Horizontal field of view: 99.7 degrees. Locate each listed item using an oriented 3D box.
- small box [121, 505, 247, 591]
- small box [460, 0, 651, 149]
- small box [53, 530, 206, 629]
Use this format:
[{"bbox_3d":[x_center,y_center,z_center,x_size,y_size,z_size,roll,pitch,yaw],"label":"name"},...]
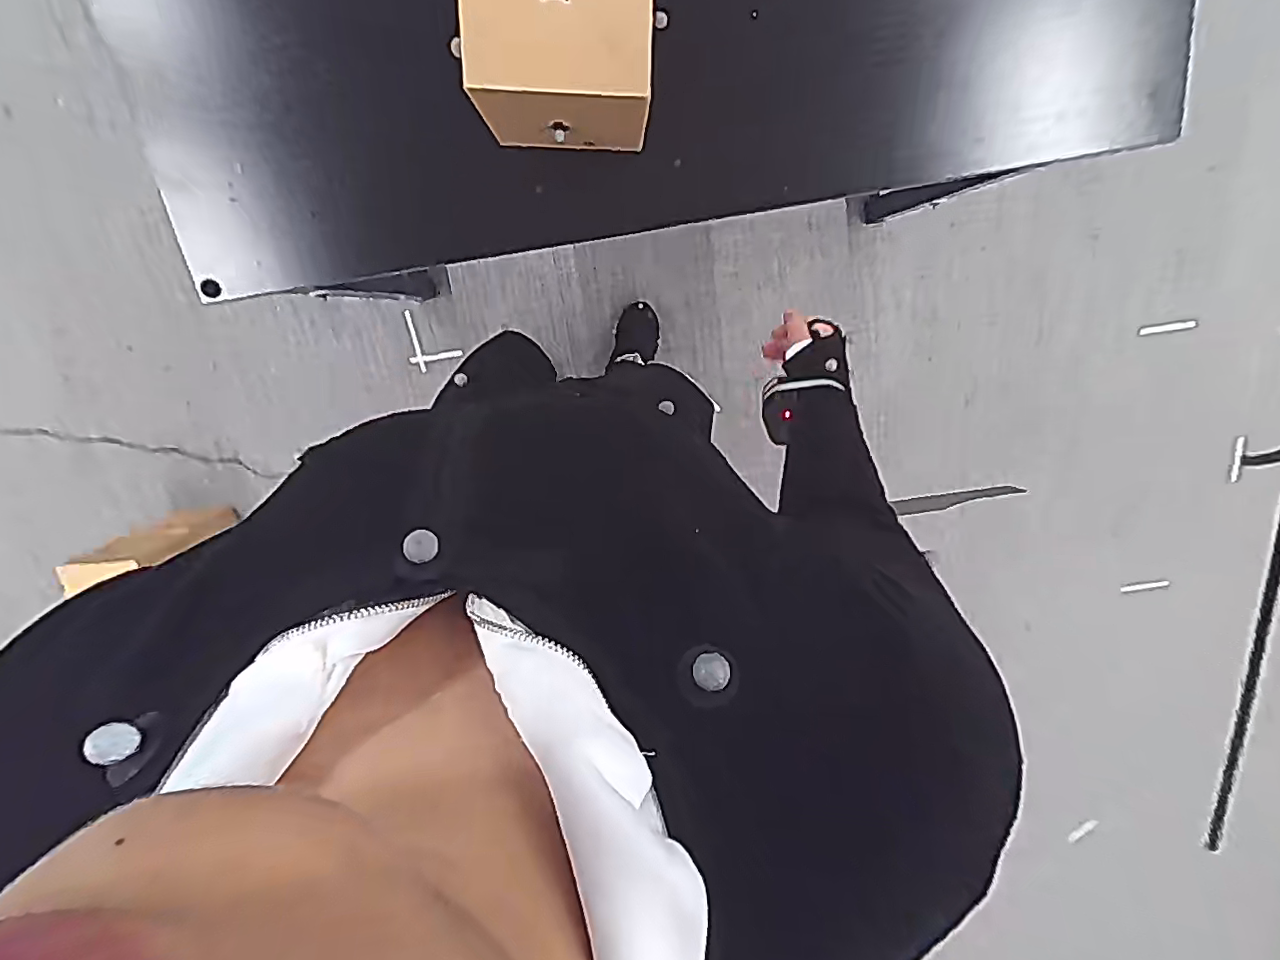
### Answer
[{"bbox_3d":[-1.189,0.182,1.426,0.168,0.176,0.179,-8,108,-1],"label":"small box"},{"bbox_3d":[-0.075,-0.447,0.532,0.168,0.176,0.179,1,106,-4],"label":"small box"},{"bbox_3d":[-1.183,0.227,1.268,0.179,0.176,0.168,-4,108,-3],"label":"small box"}]
